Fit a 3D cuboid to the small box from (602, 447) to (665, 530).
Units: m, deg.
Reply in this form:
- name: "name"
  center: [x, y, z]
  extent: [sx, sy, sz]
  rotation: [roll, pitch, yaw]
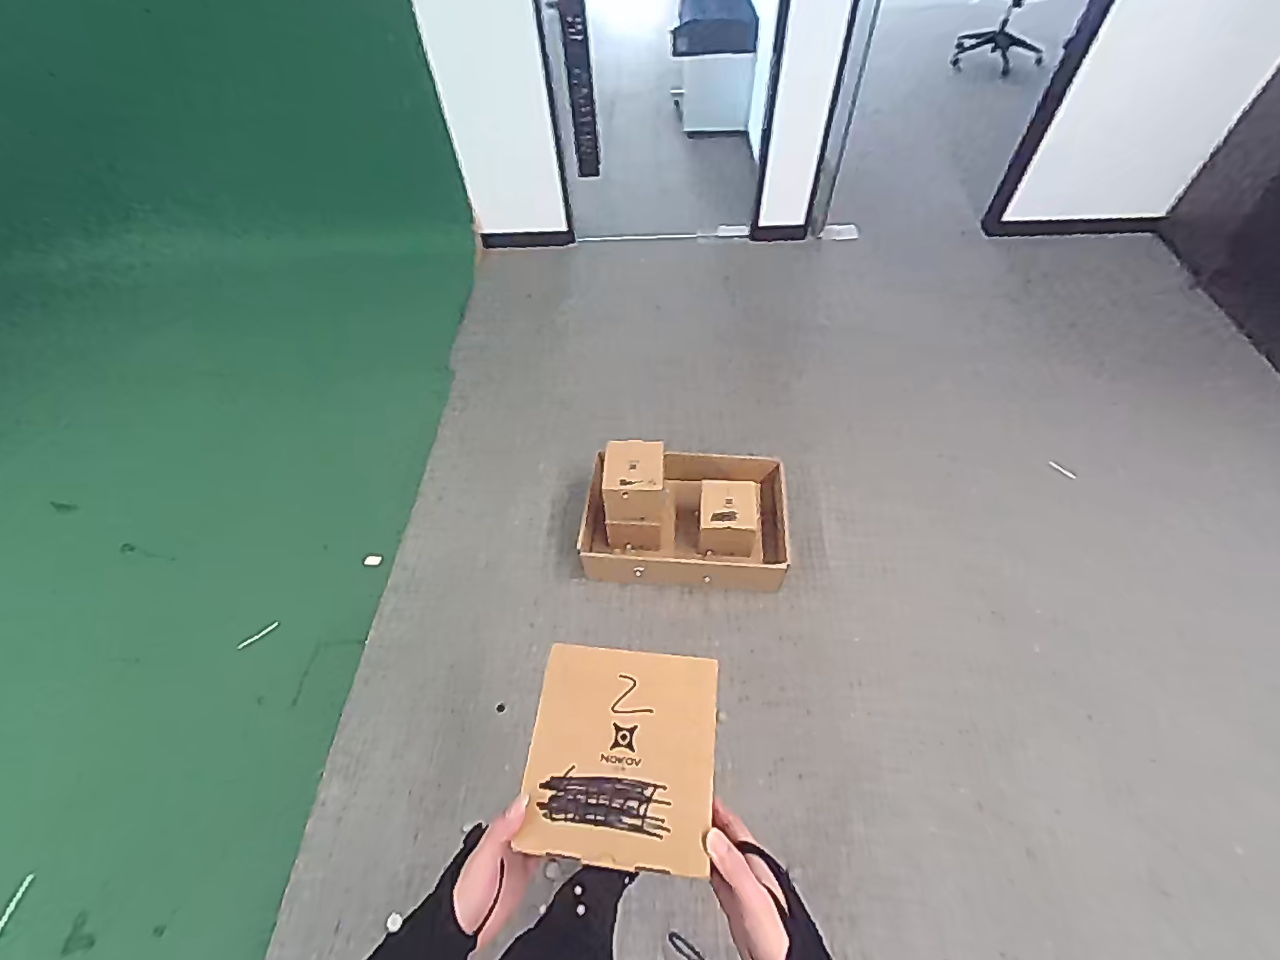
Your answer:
- name: "small box"
  center: [-0.013, 0.024, 1.568]
  extent: [0.168, 0.176, 0.179]
  rotation: [1, 52, 4]
